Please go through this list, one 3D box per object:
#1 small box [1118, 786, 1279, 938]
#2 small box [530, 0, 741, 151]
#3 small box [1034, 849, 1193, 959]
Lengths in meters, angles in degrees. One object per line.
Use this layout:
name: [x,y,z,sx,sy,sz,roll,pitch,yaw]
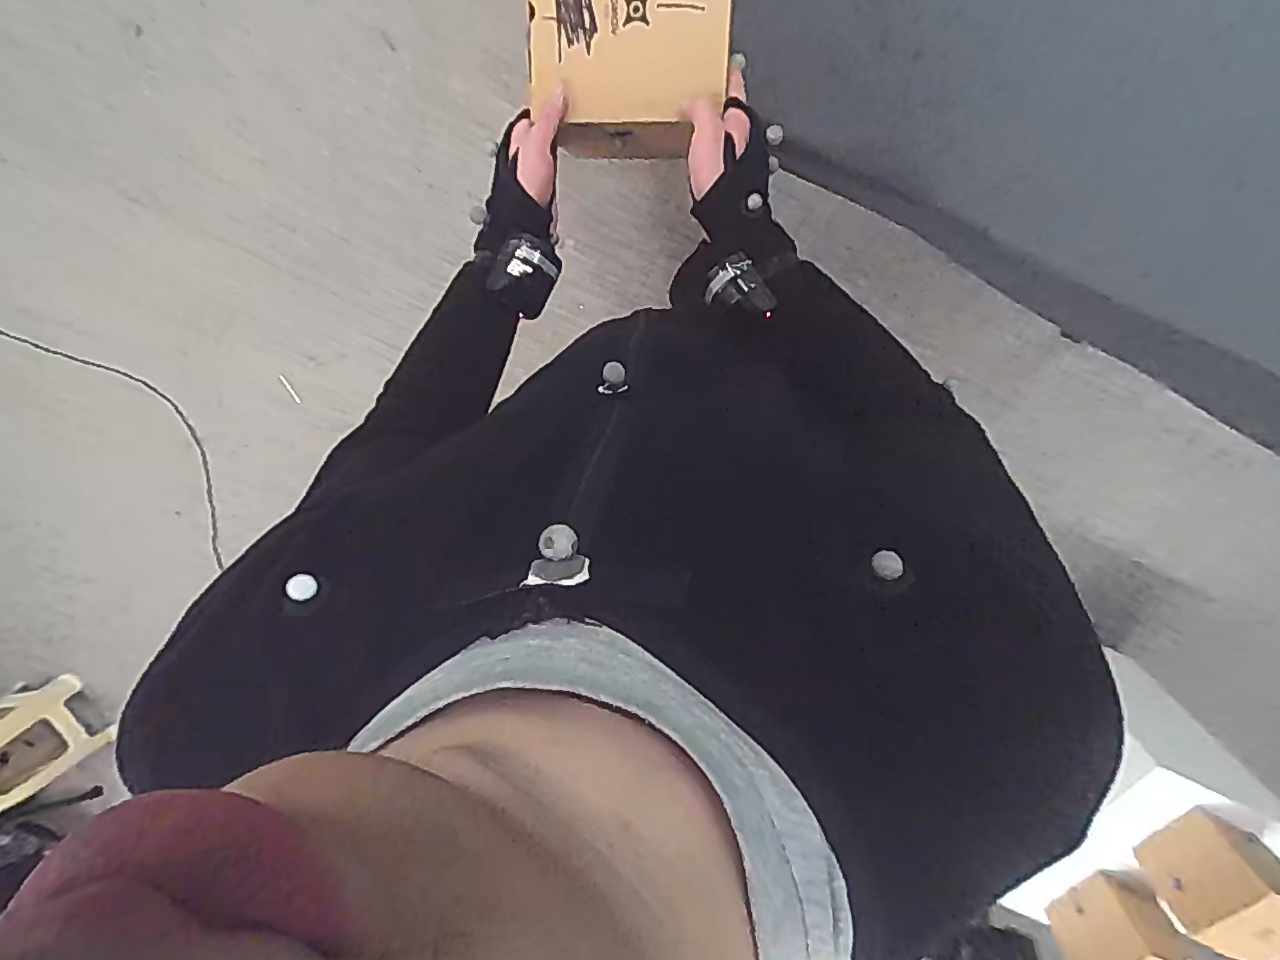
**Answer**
small box: [1.141,0.771,1.101,0.168,0.176,0.179,25,113,-6]
small box: [0.003,-0.421,0.512,0.179,0.176,0.168,3,112,4]
small box: [1.025,0.970,1.197,0.168,0.176,0.179,26,114,-6]
